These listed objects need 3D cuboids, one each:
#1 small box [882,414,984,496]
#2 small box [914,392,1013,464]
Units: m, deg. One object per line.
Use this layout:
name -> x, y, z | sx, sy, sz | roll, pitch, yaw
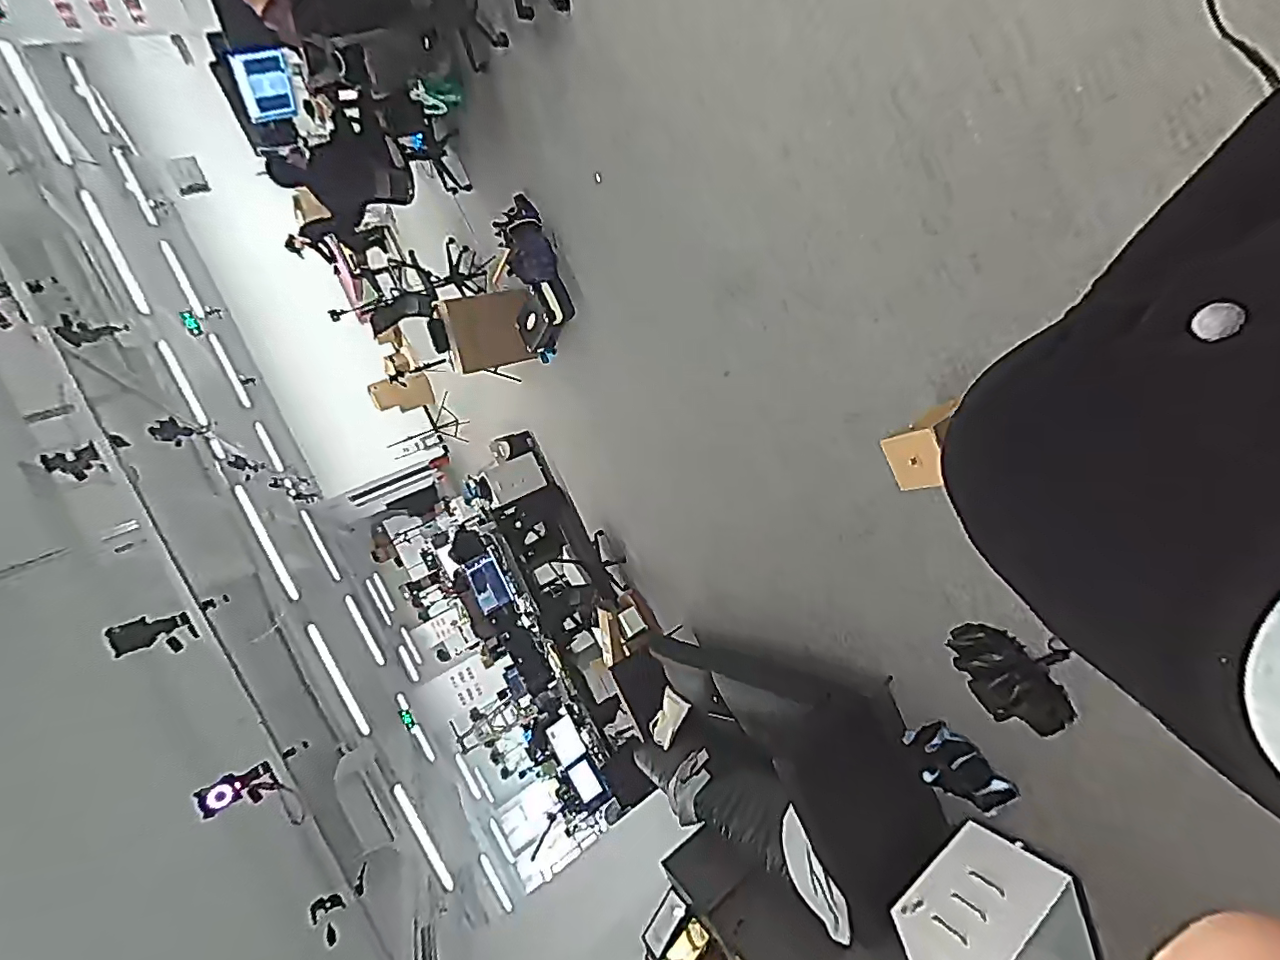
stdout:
small box -> 0.843, -0.072, 1.547 | 0.168, 0.176, 0.179 | 64, 158, -2
small box -> 0.973, -0.142, 1.615 | 0.168, 0.176, 0.179 | 62, 156, -2
